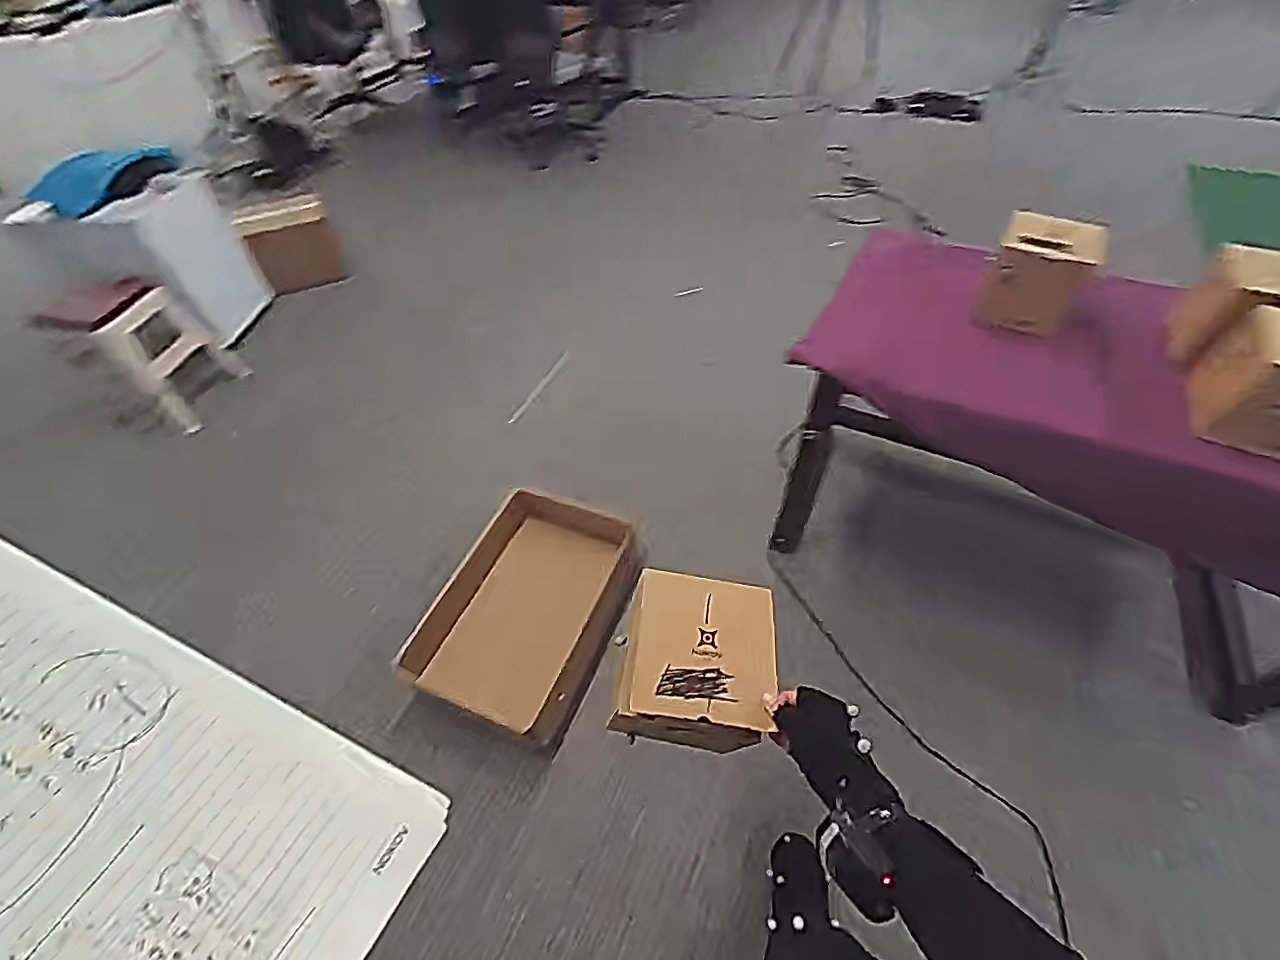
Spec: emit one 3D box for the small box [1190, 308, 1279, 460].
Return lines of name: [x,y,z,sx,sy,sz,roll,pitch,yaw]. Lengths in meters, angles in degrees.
small box: [1.083,-0.155,0.910,0.168,0.176,0.179,23,56,20]

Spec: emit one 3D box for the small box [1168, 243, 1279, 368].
small box: [1.167,-0.319,1.037,0.168,0.176,0.179,21,56,18]

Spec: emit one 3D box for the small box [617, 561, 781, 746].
small box: [0.070,0.231,0.697,0.168,0.176,0.179,14,59,-1]
